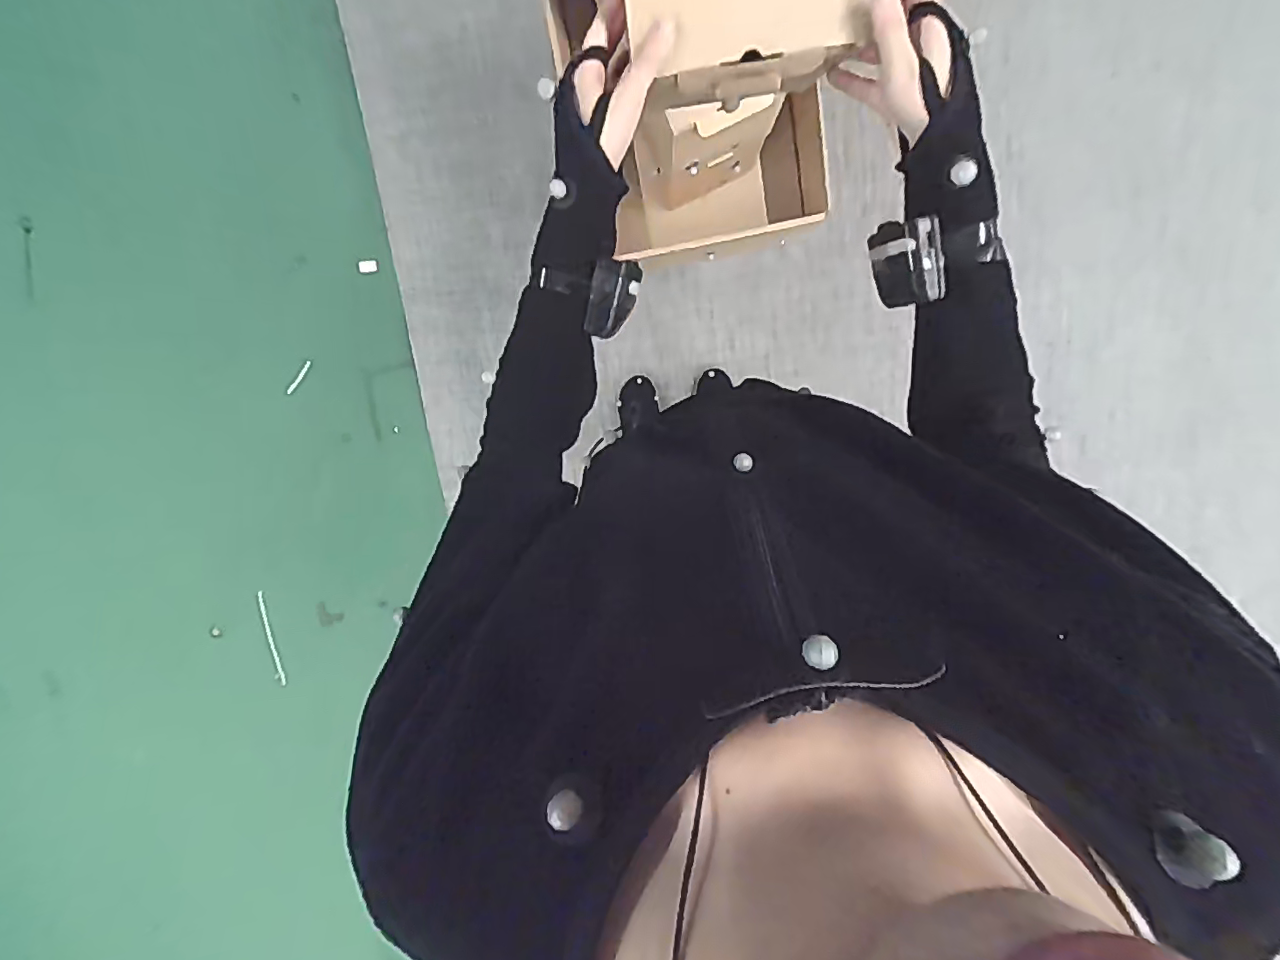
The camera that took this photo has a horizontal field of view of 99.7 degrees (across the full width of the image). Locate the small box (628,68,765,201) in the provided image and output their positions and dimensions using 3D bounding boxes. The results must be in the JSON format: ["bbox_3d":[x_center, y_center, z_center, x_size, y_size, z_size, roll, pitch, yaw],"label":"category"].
[{"bbox_3d":[0.093,-0.594,0.902,0.168,0.176,0.179,-22,98,7],"label":"small box"}]

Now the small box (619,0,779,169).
[{"bbox_3d":[0.086,-0.561,0.742,0.168,0.176,0.179,-23,98,7],"label":"small box"}]

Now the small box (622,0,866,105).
[{"bbox_3d":[0.066,-0.403,0.412,0.168,0.176,0.179,-6,119,4],"label":"small box"}]
